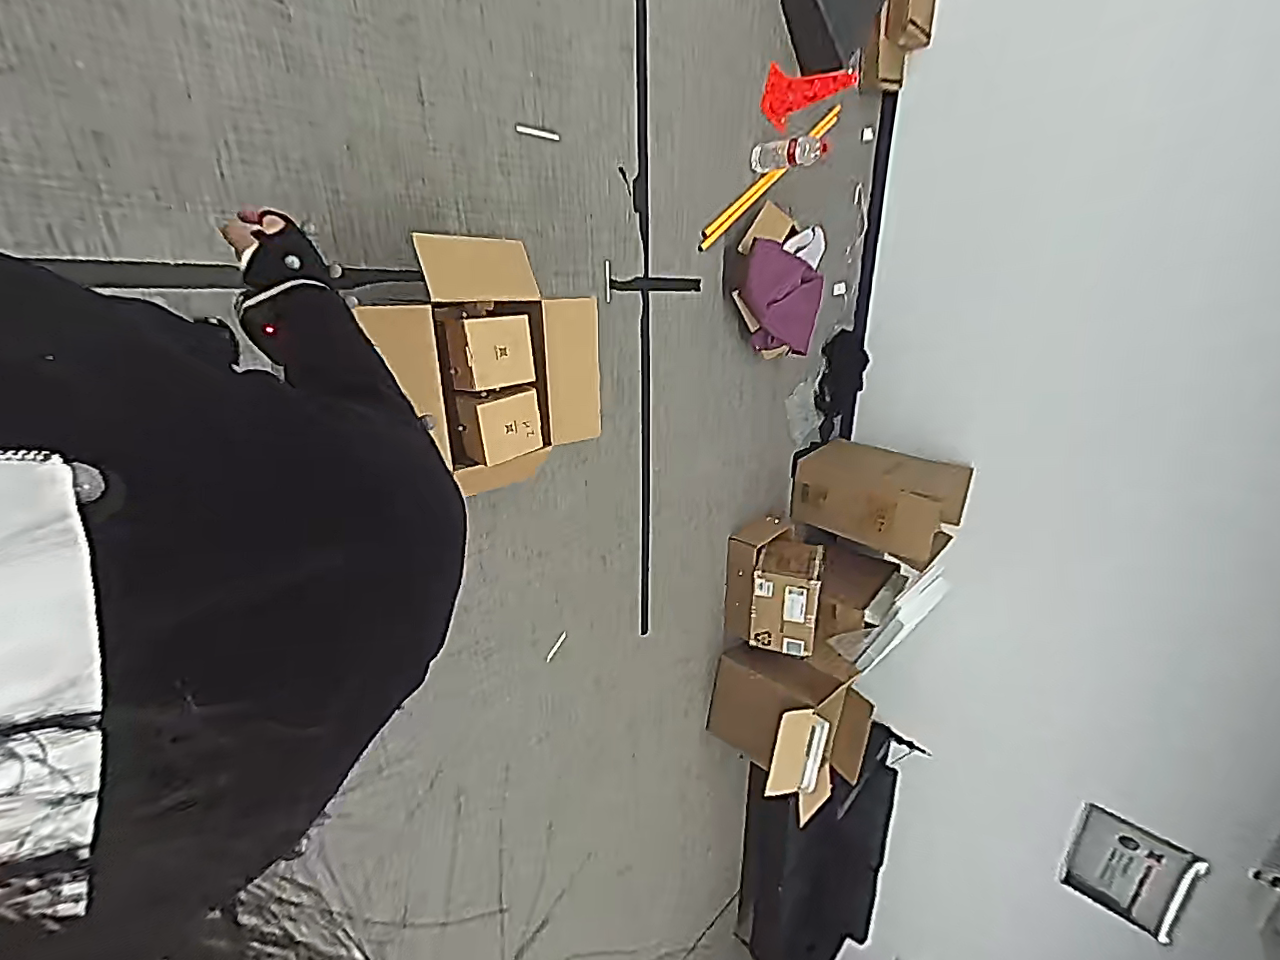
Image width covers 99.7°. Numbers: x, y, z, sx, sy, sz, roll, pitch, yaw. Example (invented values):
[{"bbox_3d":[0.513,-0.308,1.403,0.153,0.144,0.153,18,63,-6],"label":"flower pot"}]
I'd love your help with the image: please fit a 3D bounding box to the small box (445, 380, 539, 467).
[{"bbox_3d":[-0.394,-0.155,1.423,0.179,0.176,0.168,-26,126,-39],"label":"small box"}]
